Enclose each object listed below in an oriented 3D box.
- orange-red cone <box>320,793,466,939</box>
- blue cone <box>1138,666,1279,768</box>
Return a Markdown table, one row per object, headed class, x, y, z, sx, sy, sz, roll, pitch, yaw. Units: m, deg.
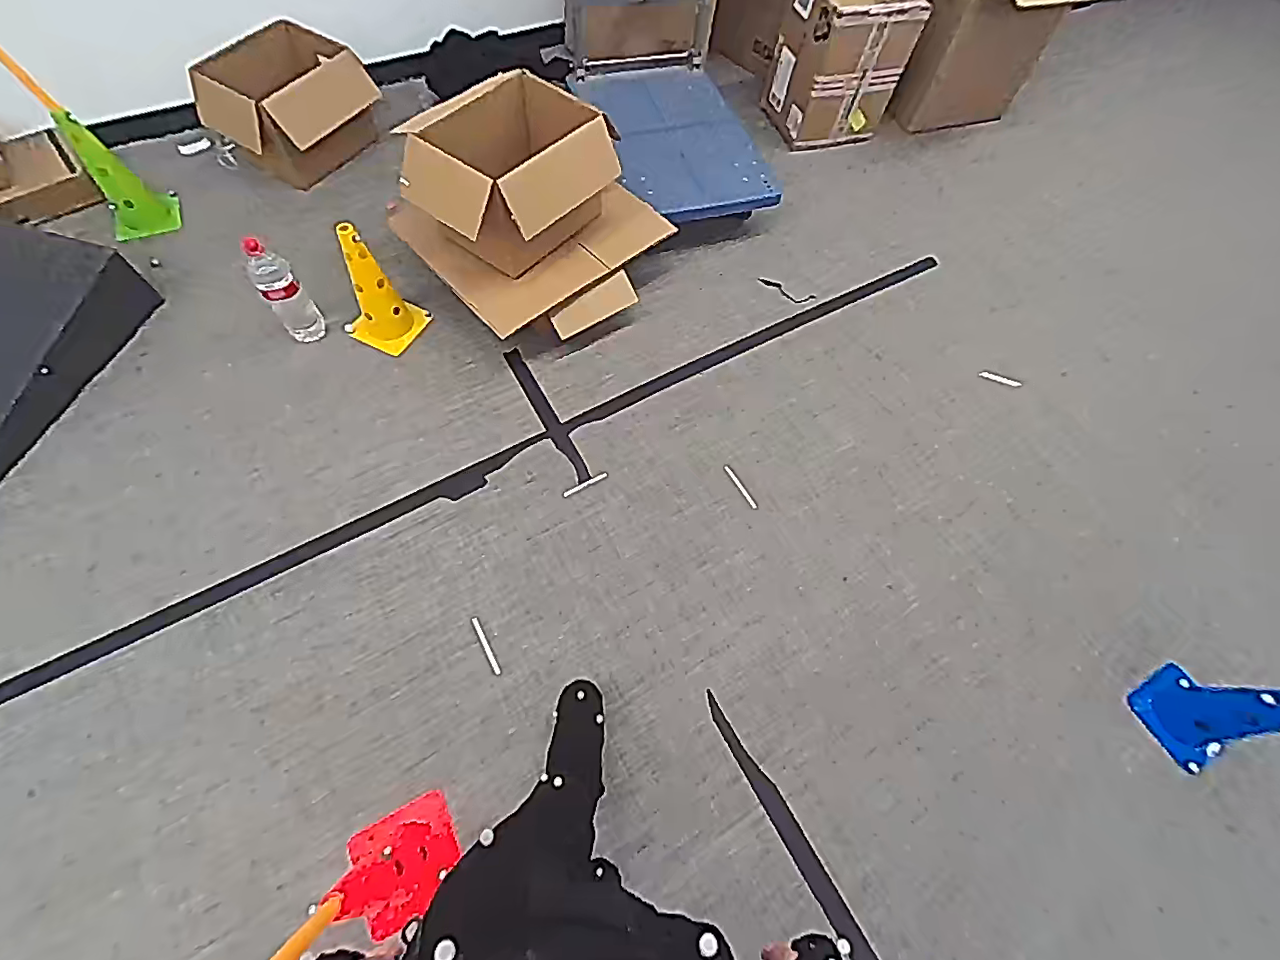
| class | x | y | z | sx | sy | sz | roll | pitch | yaw |
| --- | --- | --- | --- | --- | --- | --- | --- | --- | --- |
| orange-red cone | -0.458 | 0.695 | 0.939 | 0.198 | 0.360 | 0.199 | -23 | 66 | -15 |
| blue cone | 1.362 | 0.506 | 1.191 | 0.193 | 0.380 | 0.192 | -23 | 68 | -15 |
